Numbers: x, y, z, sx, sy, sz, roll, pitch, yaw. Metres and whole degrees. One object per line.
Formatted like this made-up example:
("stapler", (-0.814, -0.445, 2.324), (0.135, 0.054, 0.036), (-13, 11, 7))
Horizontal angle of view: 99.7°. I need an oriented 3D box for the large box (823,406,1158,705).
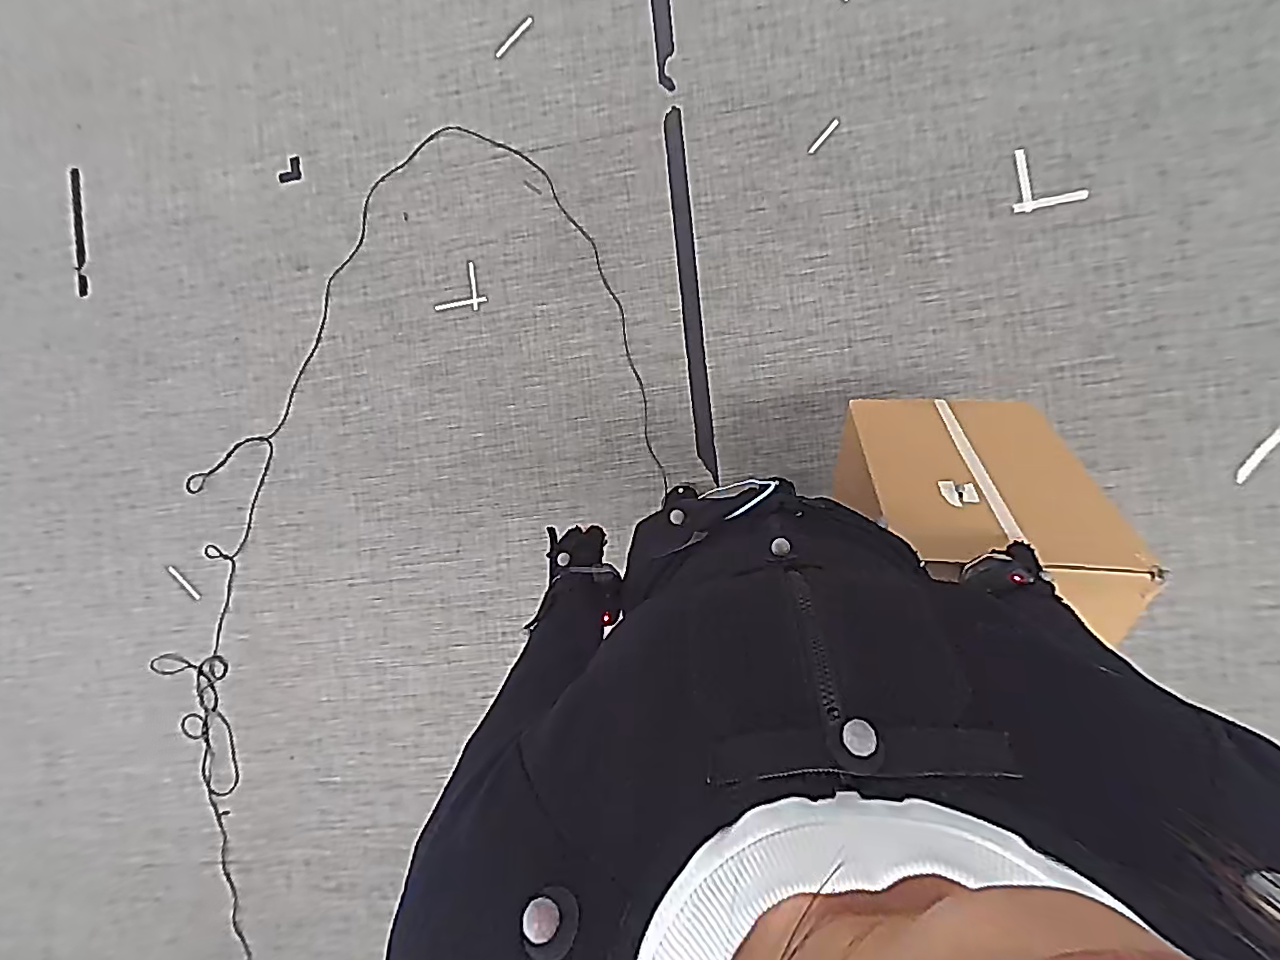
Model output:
("large box", (0.519, 0.110, 0.927), (0.320, 0.408, 0.320), (1, 130, 9))
